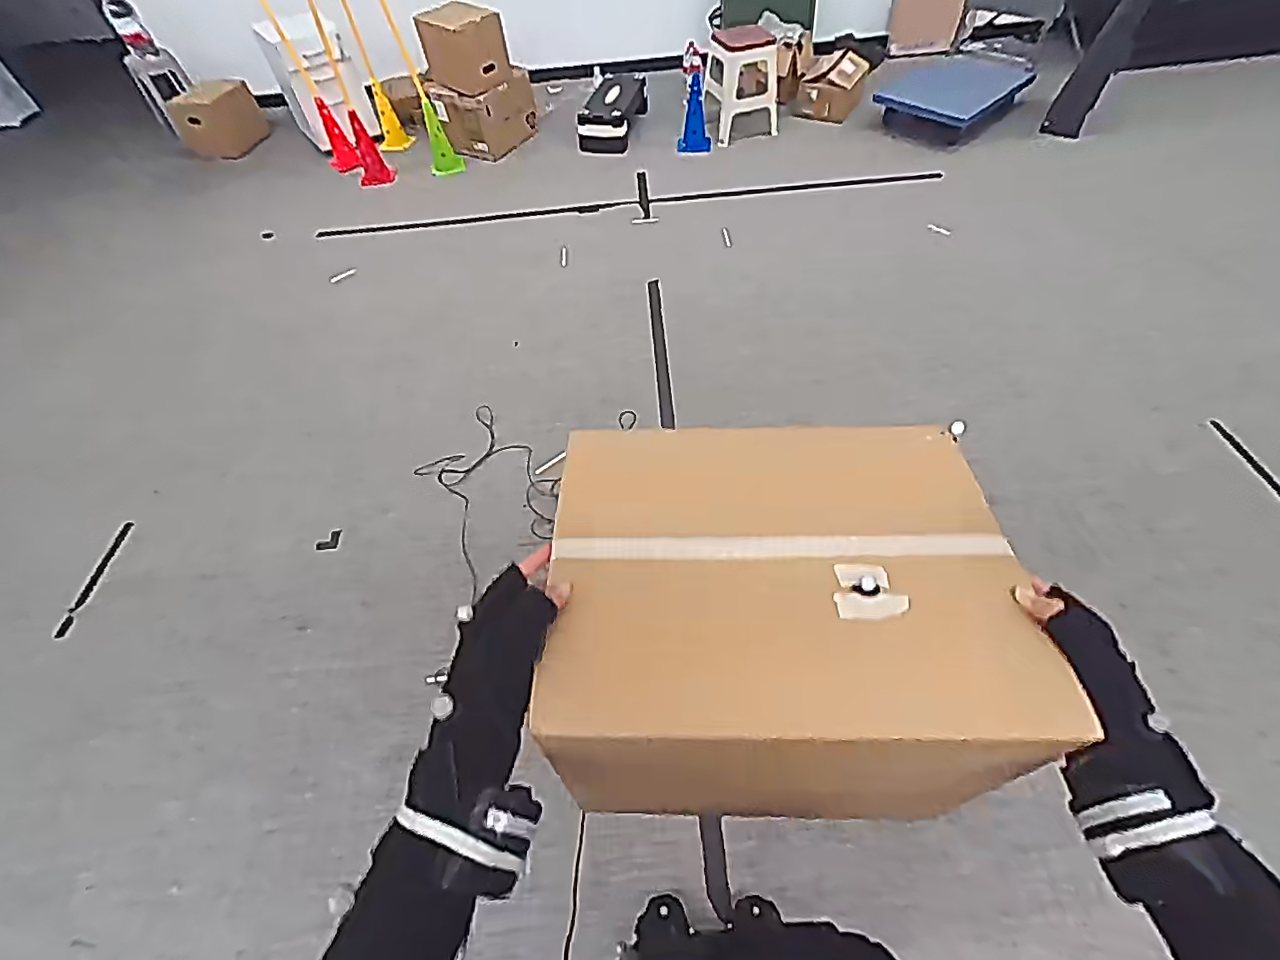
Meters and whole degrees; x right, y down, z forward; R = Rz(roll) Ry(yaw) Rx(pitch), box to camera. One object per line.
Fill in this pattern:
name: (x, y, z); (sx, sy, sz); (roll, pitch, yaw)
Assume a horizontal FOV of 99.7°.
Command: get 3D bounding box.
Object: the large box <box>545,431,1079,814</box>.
large box: (0.129, 0.164, 0.606); (0.408, 0.320, 0.320); (-1, 48, 2)
